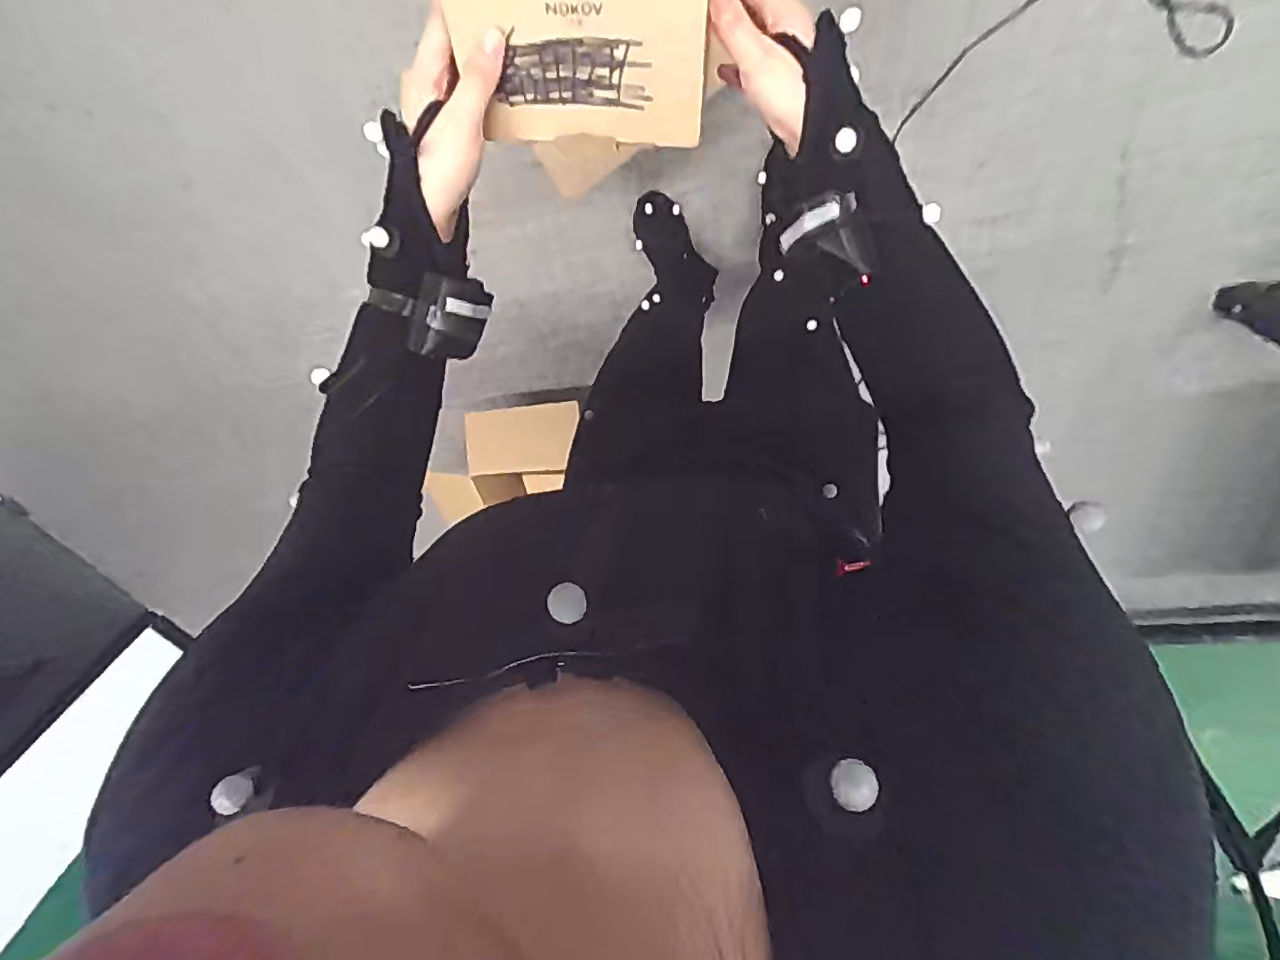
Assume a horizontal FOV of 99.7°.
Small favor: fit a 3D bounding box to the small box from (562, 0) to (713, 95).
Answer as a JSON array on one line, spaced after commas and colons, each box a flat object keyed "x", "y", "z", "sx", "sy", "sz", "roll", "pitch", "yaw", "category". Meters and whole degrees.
[{"x": 0.005, "y": -0.599, "z": 0.659, "sx": 0.168, "sy": 0.176, "sz": 0.179, "roll": 10, "pitch": 133, "yaw": 1, "category": "small box"}]
